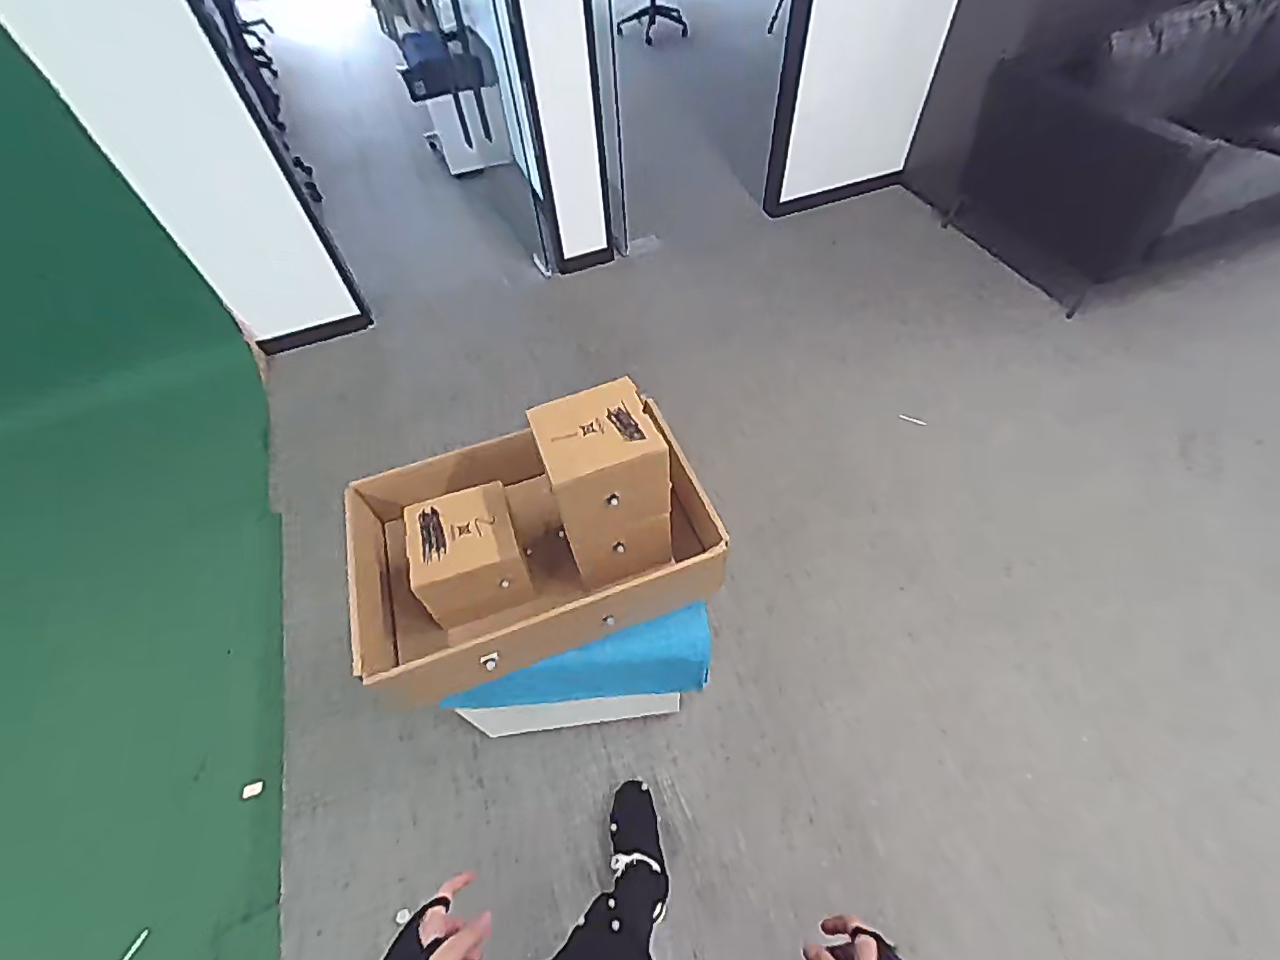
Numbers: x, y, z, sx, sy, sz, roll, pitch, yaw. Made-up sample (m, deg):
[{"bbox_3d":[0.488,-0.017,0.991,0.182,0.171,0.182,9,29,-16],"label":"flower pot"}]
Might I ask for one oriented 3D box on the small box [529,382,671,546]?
[{"bbox_3d":[-0.059,-0.023,0.865,0.179,0.176,0.168,-20,53,-9],"label":"small box"}]
